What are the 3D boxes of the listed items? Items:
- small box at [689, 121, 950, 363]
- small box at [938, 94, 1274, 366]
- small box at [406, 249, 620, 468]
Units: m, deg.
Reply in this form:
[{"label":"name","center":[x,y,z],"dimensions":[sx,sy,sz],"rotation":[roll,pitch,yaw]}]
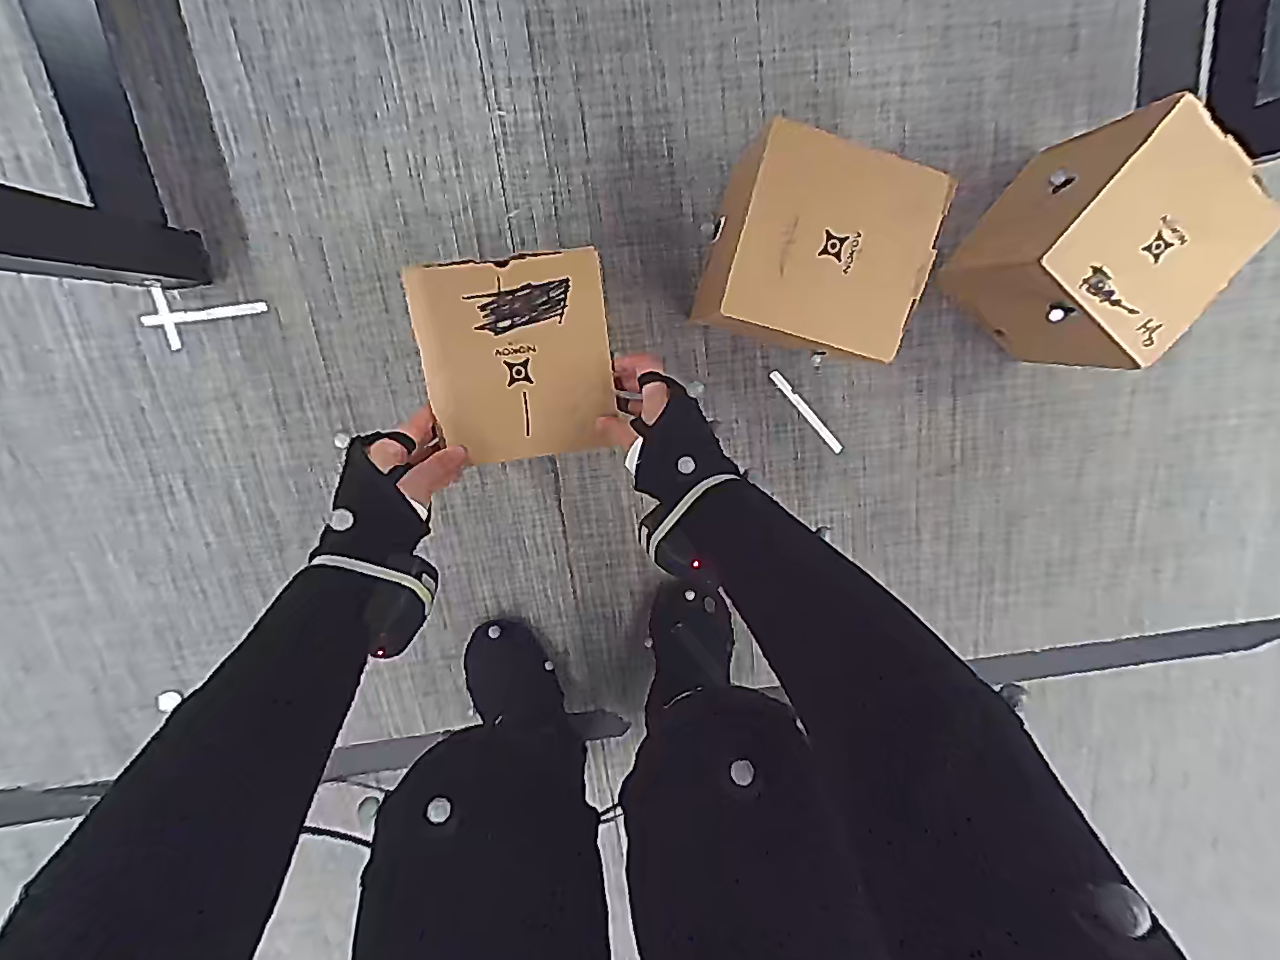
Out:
[{"label":"small box","center":[0.164,-0.226,0.556],"dimensions":[0.179,0.176,0.168],"rotation":[13,103,-7]},{"label":"small box","center":[0.467,-0.243,0.573],"dimensions":[0.168,0.176,0.179],"rotation":[35,99,-12]},{"label":"small box","center":[-0.117,-0.124,0.555],"dimensions":[0.168,0.176,0.179],"rotation":[-8,106,-4]}]
